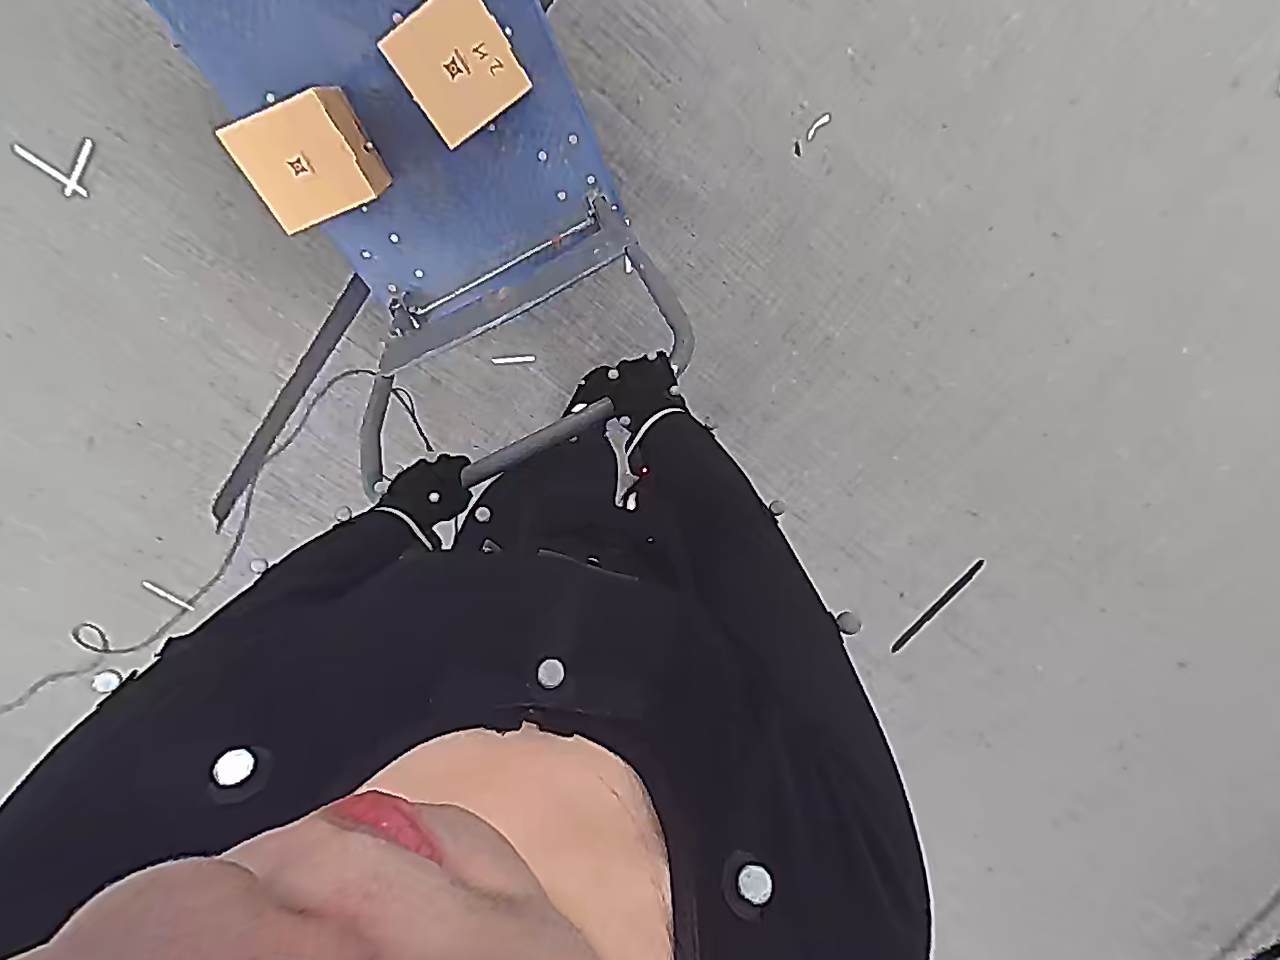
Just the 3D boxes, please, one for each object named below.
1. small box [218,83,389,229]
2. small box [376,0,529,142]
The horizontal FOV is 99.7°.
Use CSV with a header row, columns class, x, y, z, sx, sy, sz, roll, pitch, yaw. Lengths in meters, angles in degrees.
class,x,y,z,sx,sy,sz,roll,pitch,yaw
small box,-0.576,-0.572,0.956,0.179,0.176,0.168,-23,128,2
small box,-0.304,-0.710,0.915,0.179,0.176,0.168,-31,128,11
